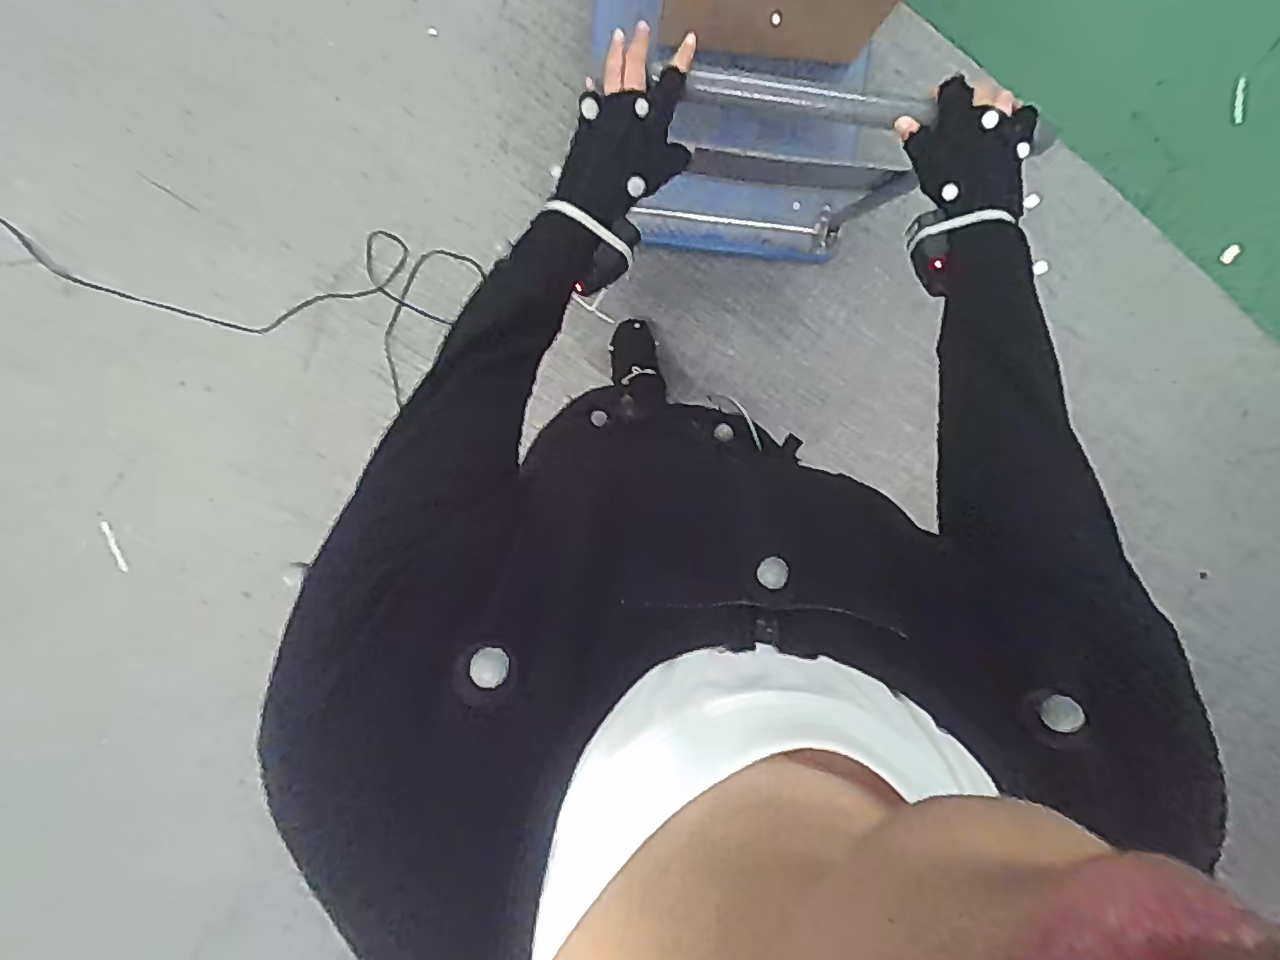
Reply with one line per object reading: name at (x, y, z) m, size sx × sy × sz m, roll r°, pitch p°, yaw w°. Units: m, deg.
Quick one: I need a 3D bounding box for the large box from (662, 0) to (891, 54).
large box at (0.254, -1.004, 0.941) m, size 0.408 × 0.320 × 0.320 m, roll 2°, pitch 101°, yaw -2°
